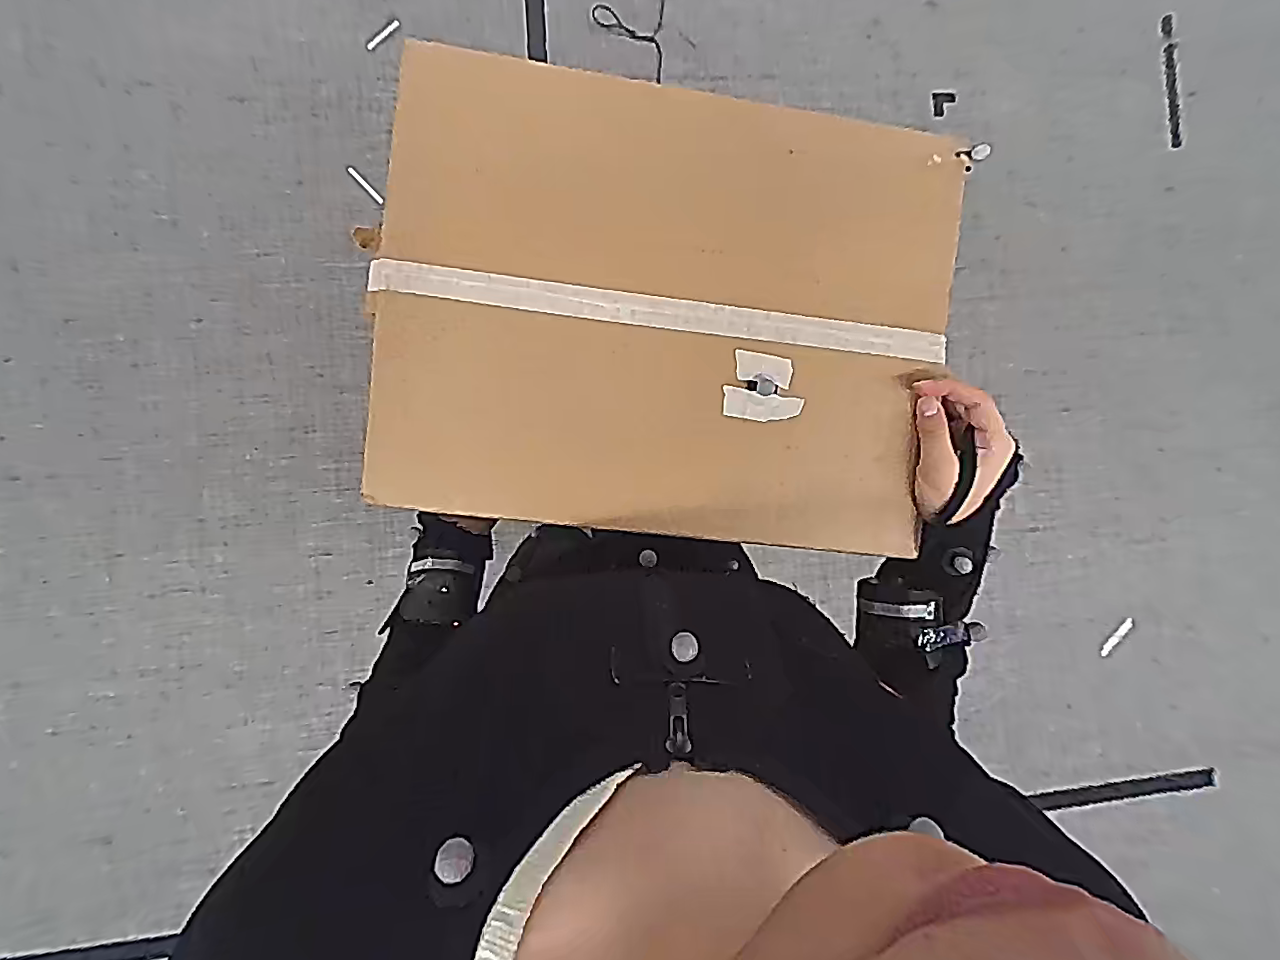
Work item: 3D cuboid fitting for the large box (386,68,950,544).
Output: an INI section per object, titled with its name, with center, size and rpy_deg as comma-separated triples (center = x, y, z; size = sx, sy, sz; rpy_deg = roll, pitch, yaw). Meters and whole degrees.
[large box]
center = 0.012, -0.121, 0.543
size = 0.408, 0.320, 0.320
rpy_deg = 6, 92, -7
